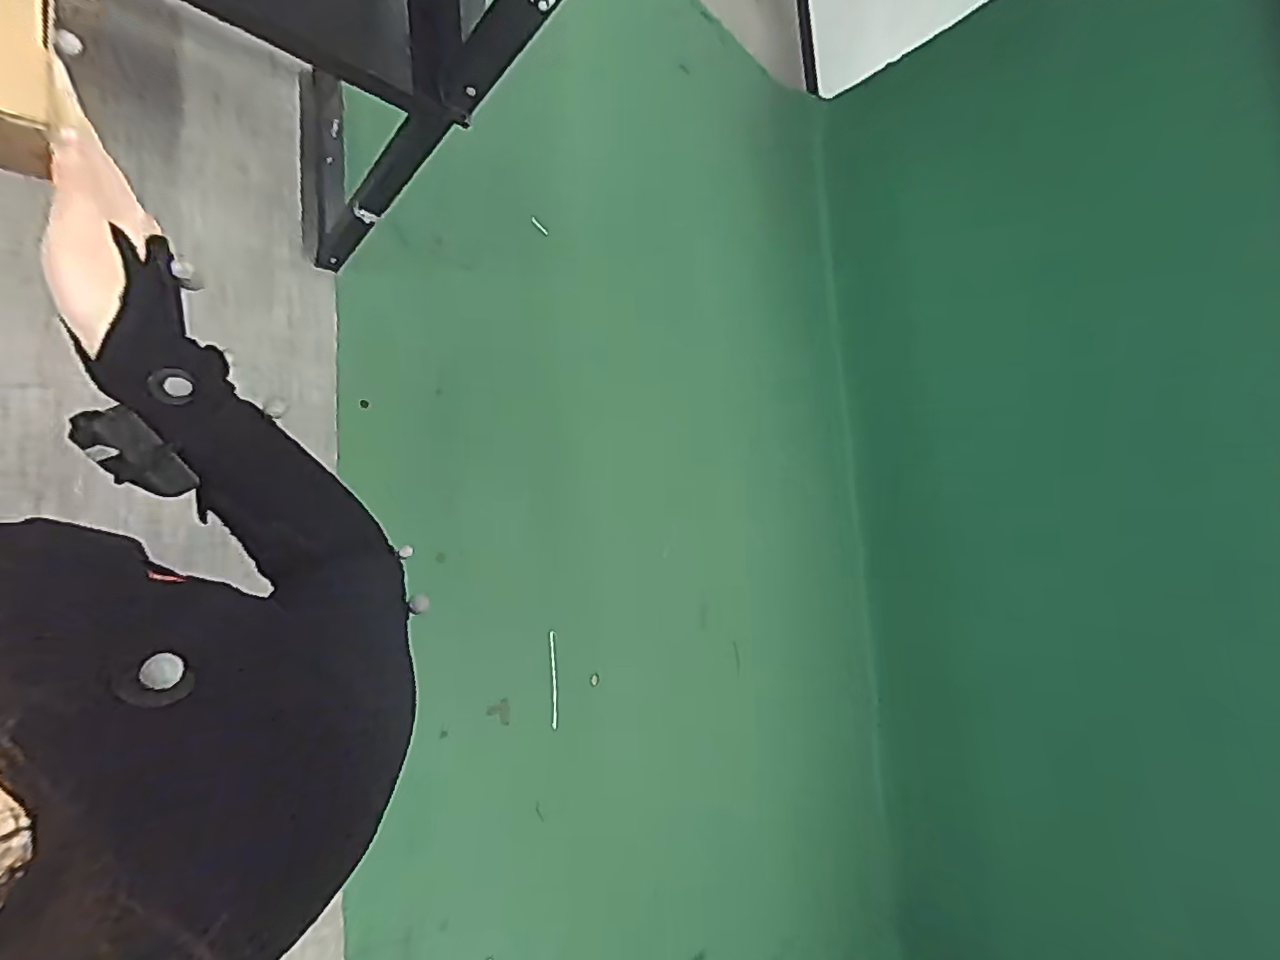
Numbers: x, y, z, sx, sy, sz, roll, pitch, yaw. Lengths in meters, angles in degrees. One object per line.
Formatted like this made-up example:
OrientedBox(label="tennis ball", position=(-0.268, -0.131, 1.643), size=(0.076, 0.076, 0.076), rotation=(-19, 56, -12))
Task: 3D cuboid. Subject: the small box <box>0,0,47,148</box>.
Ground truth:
OrientedBox(label="small box", position=(-0.360, -0.256, 0.208), size=(0.179, 0.176, 0.168), rotation=(-2, 105, -48))
